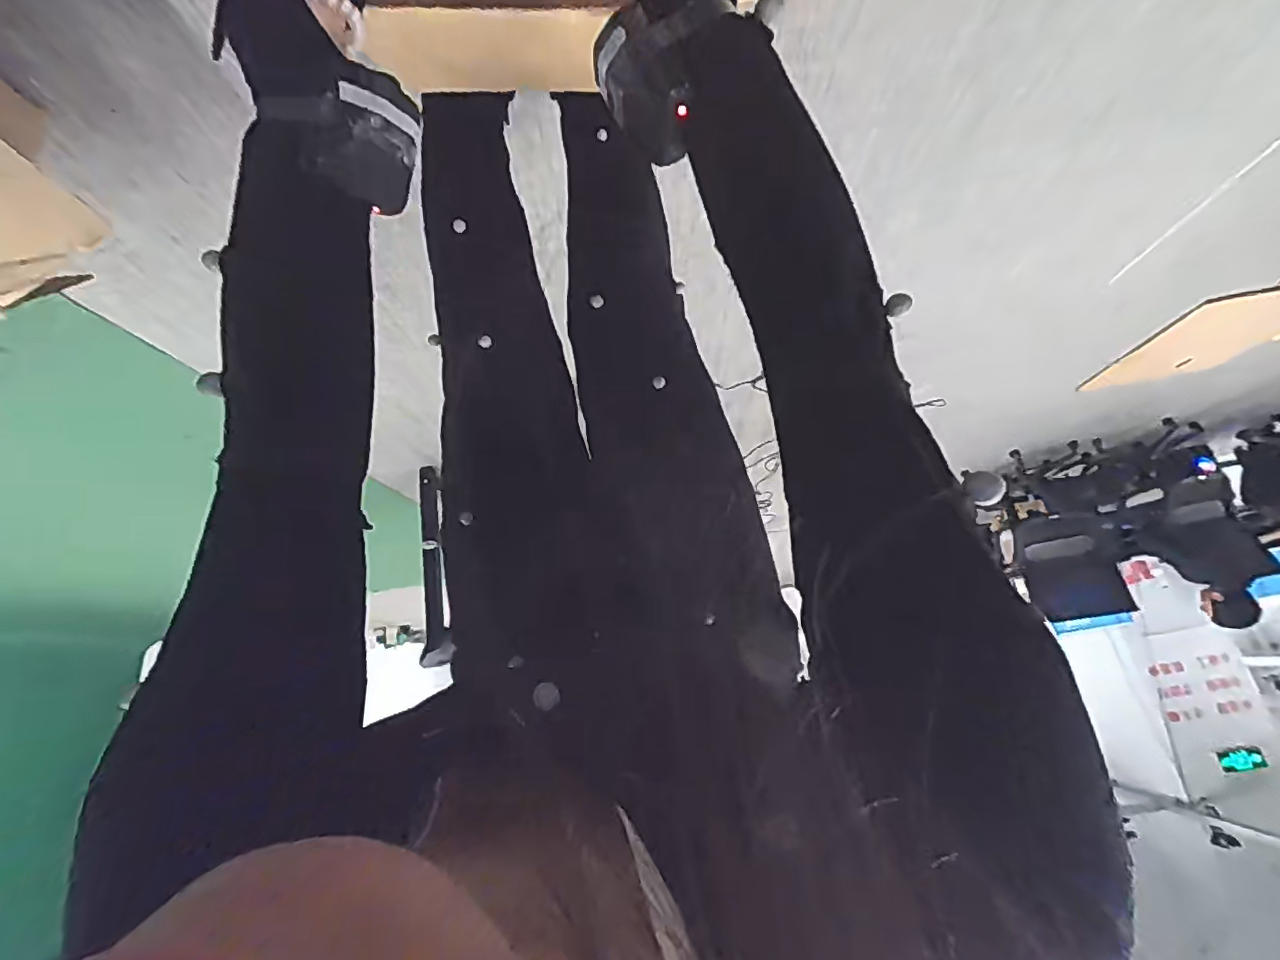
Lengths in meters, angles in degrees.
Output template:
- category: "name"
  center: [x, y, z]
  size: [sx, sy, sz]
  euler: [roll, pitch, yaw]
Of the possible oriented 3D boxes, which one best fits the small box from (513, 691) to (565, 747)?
- category: "small box"
  center: [-0.387, 0.908, 2.070]
  size: [0.179, 0.176, 0.168]
  euler: [-5, 161, -10]
